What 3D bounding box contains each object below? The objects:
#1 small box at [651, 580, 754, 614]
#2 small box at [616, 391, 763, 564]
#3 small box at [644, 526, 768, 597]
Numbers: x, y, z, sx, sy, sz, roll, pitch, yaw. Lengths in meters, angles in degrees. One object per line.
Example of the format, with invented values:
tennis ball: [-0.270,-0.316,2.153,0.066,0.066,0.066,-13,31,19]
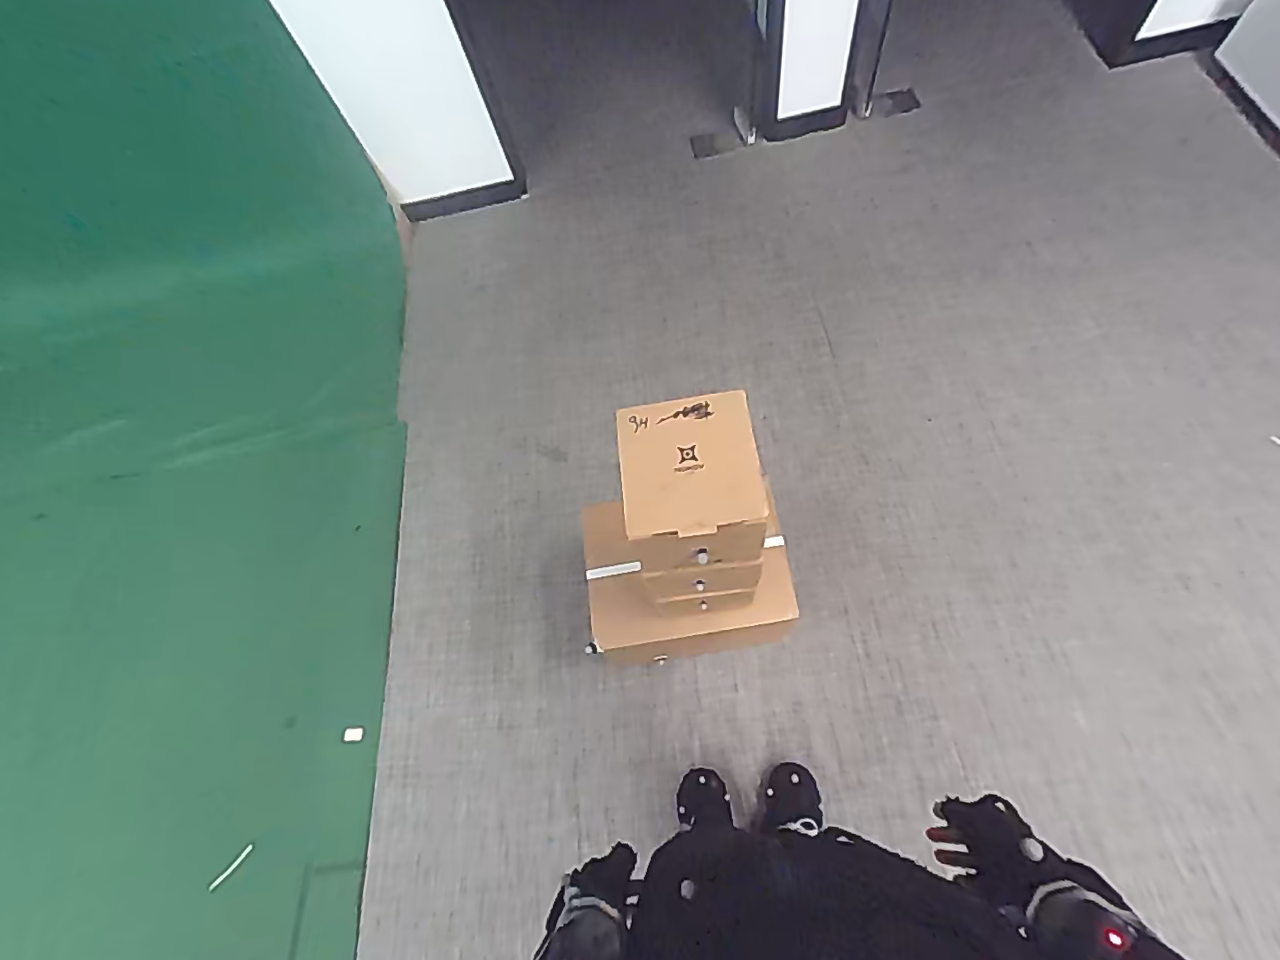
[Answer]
small box: [0.111,0.149,1.013,0.179,0.176,0.168,-8,67,5]
small box: [0.068,0.009,0.719,0.168,0.176,0.179,-8,67,7]
small box: [0.094,0.082,0.864,0.179,0.176,0.168,-10,67,4]
